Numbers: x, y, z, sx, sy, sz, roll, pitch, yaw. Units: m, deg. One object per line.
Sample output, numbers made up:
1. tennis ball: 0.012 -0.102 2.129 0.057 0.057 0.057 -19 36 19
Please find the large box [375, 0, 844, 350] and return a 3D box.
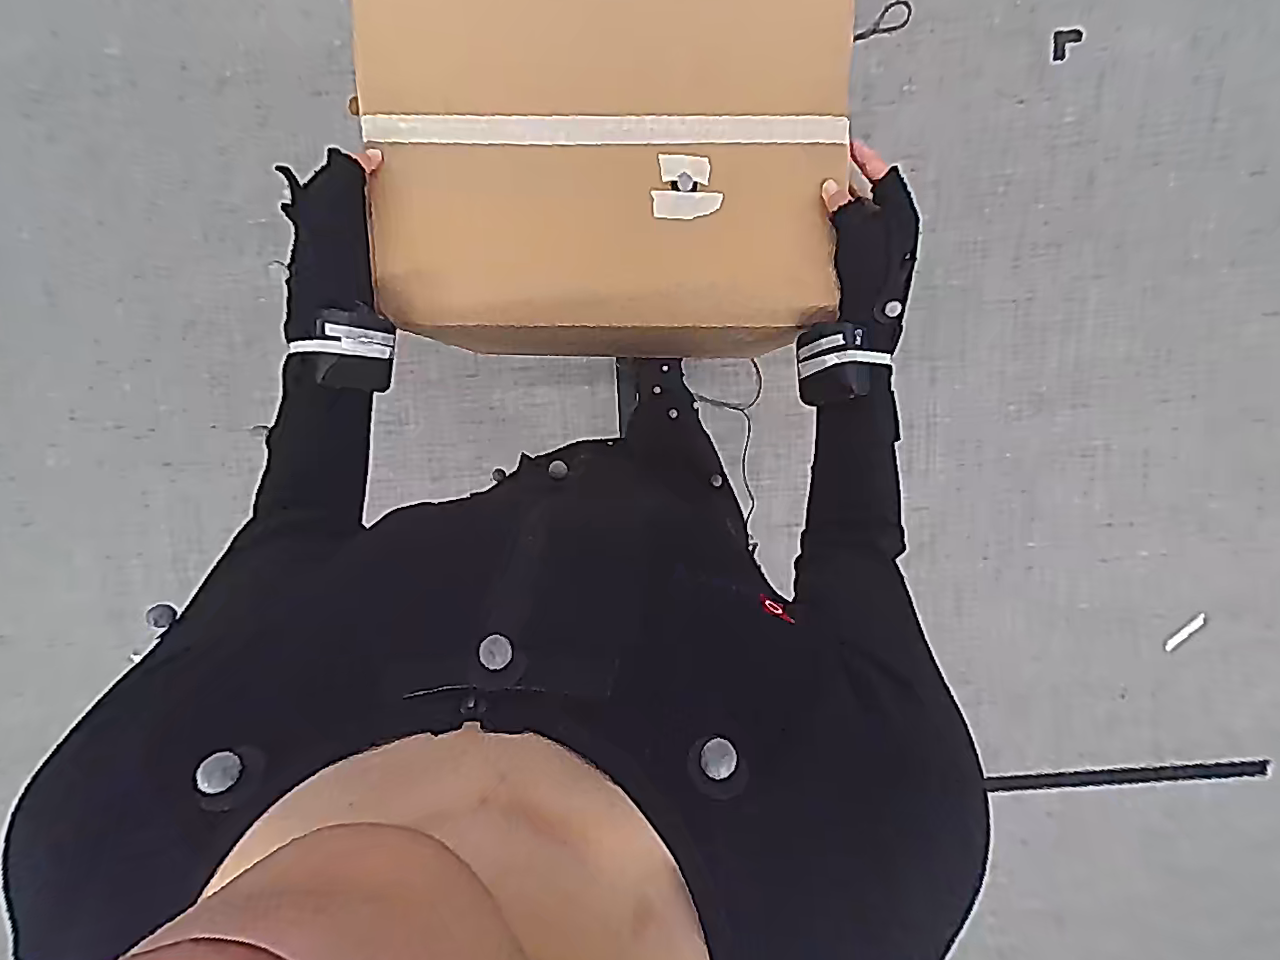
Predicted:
1. large box: -0.027 -0.324 0.616 0.408 0.320 0.320 0 99 -1
